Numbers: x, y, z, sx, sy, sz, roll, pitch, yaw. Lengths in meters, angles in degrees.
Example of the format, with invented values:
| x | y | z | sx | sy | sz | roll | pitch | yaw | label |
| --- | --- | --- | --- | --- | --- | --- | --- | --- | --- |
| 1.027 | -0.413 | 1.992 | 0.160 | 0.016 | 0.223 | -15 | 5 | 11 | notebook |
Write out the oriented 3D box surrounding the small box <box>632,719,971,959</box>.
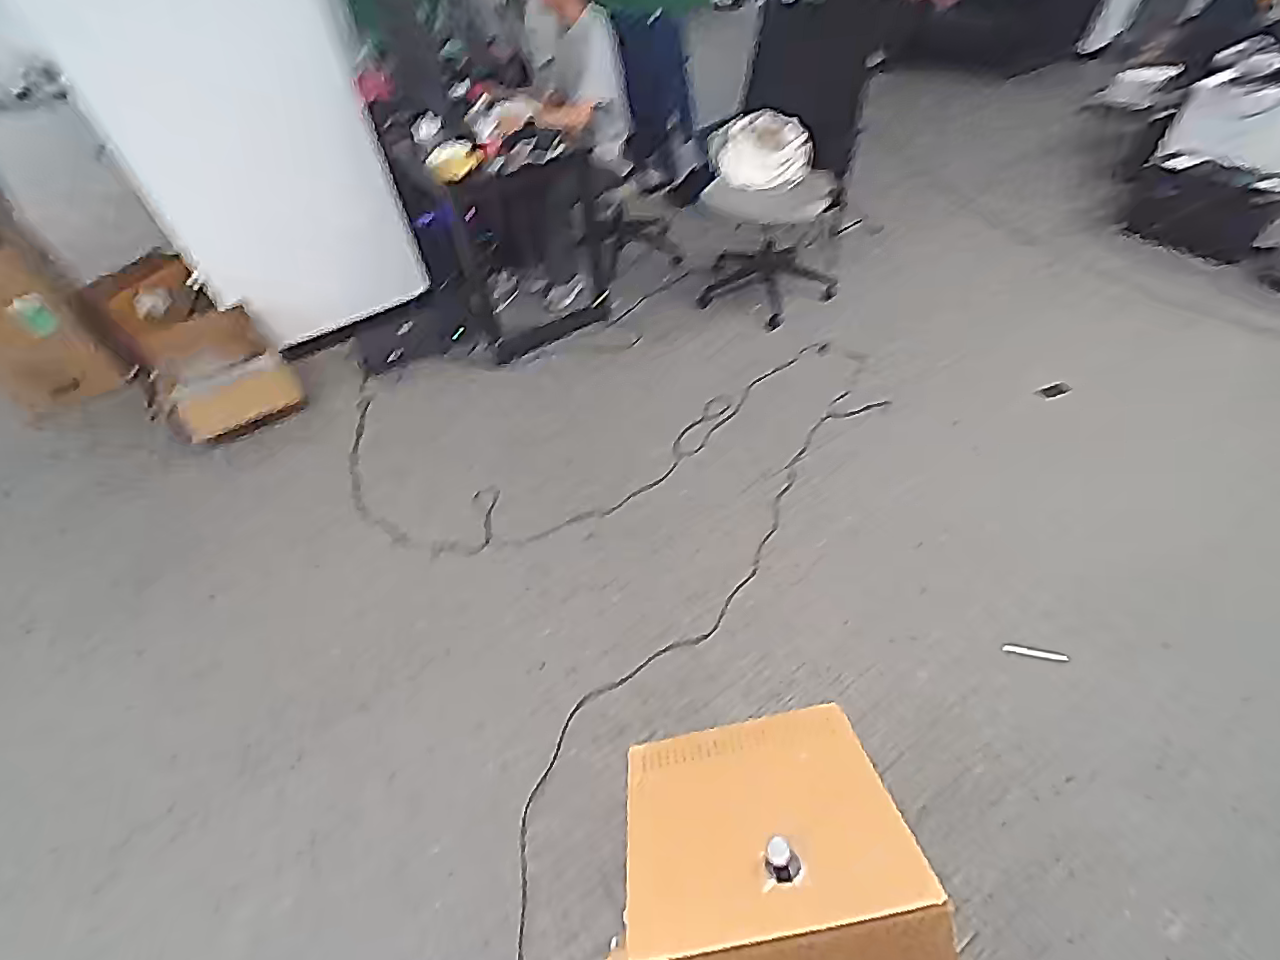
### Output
| x | y | z | sx | sy | sz | roll | pitch | yaw | label |
| --- | --- | --- | --- | --- | --- | --- | --- | --- | --- |
| 0.097 | 0.298 | 0.370 | 0.179 | 0.168 | 0.176 | -13 | 13 | 2 | small box |
